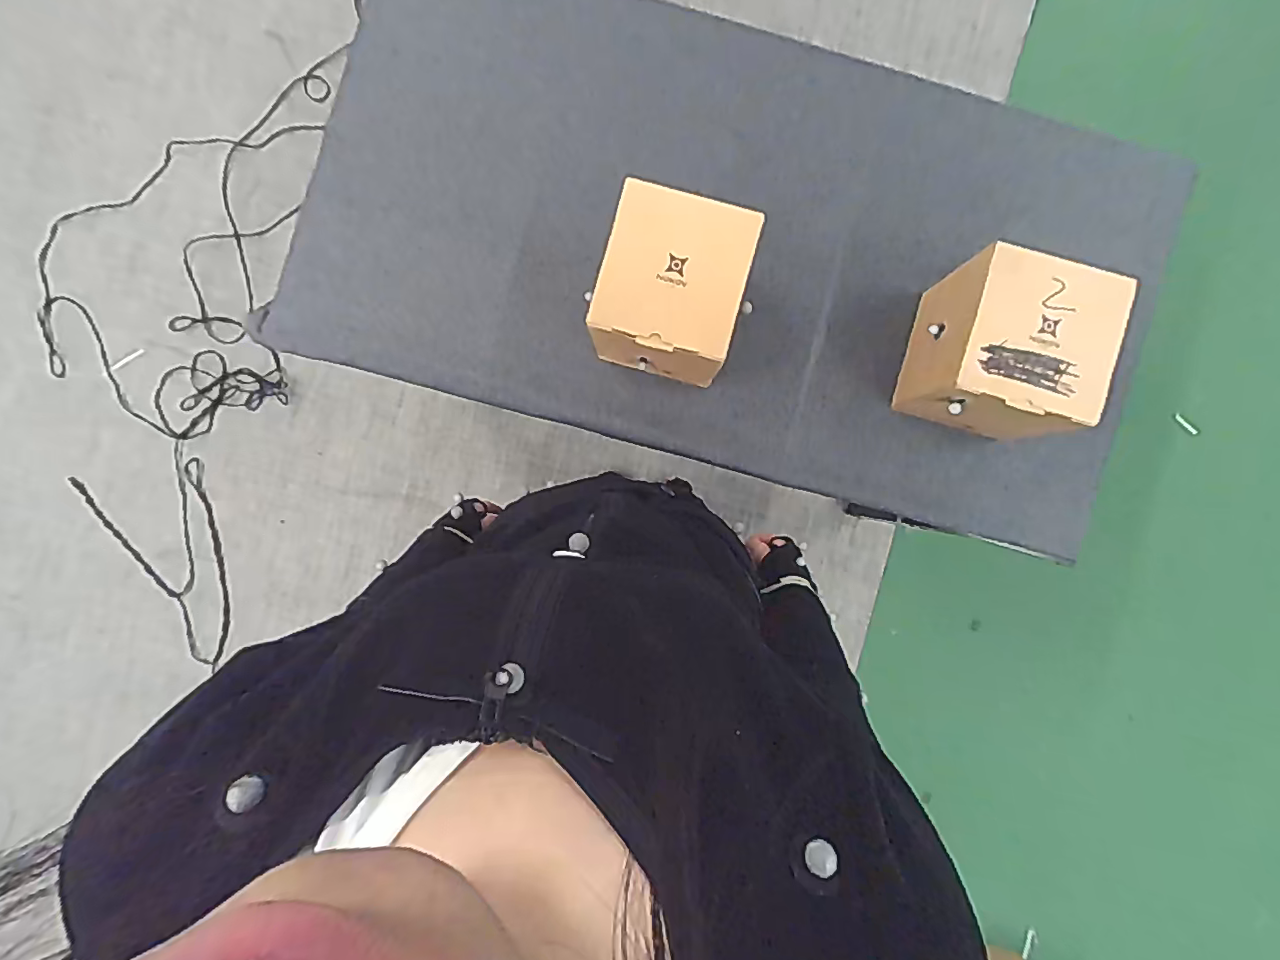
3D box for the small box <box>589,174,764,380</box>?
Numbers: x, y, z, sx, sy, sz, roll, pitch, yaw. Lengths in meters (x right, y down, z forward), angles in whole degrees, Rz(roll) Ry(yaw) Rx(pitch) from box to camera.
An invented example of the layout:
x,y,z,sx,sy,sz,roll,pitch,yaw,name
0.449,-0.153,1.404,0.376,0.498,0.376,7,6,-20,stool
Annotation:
x,y,z,sx,sy,sz,roll,pitch,yaw,name
0.040,-0.242,0.690,0.168,0.176,0.179,15,91,0,small box
